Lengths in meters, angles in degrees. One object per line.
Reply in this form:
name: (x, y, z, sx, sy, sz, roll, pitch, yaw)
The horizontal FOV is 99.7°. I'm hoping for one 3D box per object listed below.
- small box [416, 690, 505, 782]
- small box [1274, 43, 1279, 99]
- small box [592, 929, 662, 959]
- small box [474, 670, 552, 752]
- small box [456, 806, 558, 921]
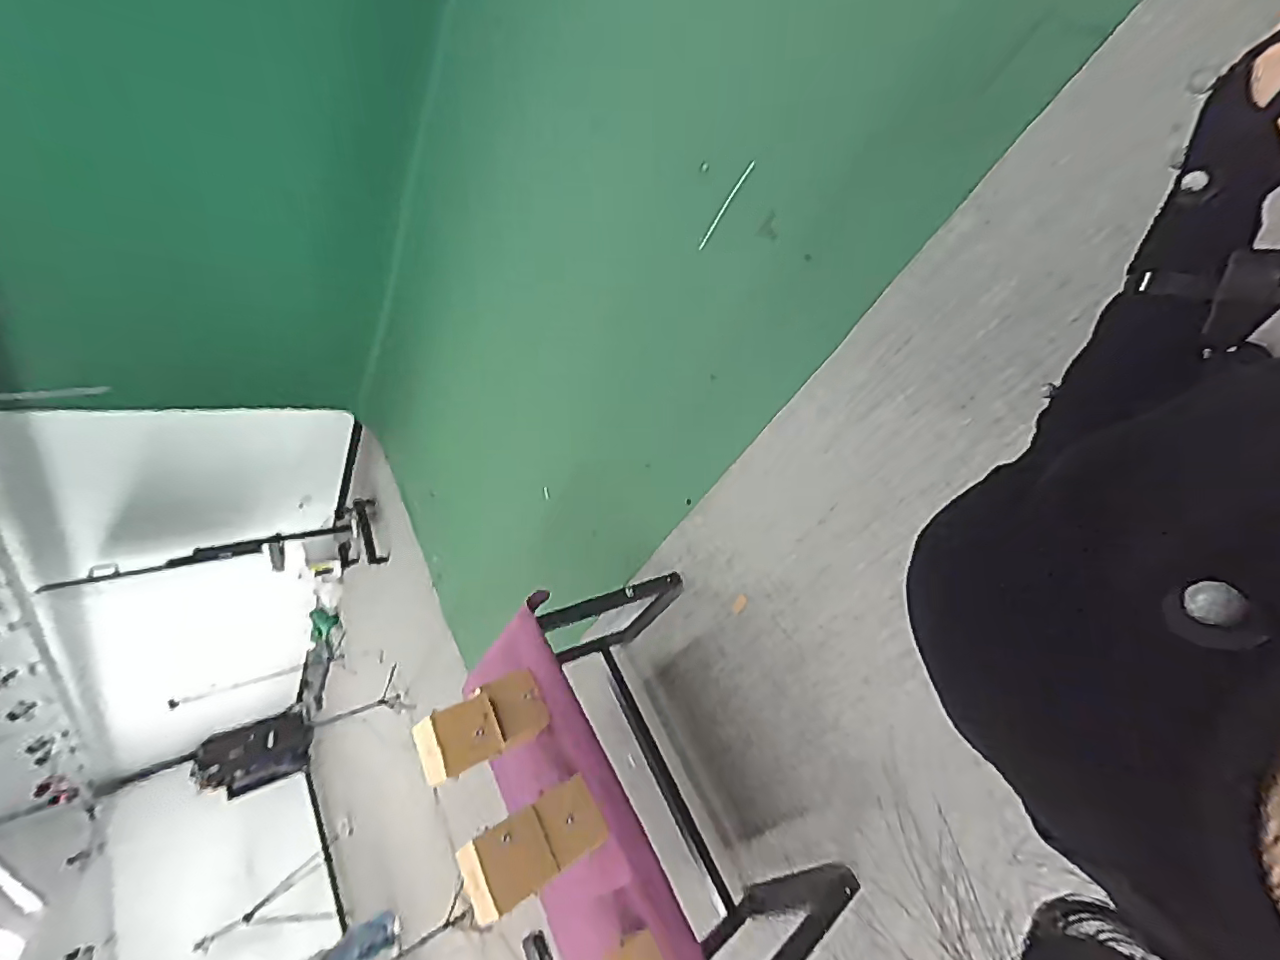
small box: (-0.496, 0.706, 1.498, 0.179, 0.176, 0.168, -44, 64, 41)
small box: (0.524, -0.348, 0.316, 0.168, 0.176, 0.179, 8, 107, 38)
small box: (-0.034, 1.230, 1.294, 0.179, 0.176, 0.168, 58, 134, 27)
small box: (-0.390, 0.691, 1.624, 0.179, 0.176, 0.168, 58, 134, 25)
small box: (-0.330, 0.942, 1.343, 0.179, 0.176, 0.168, 58, 134, 24)
